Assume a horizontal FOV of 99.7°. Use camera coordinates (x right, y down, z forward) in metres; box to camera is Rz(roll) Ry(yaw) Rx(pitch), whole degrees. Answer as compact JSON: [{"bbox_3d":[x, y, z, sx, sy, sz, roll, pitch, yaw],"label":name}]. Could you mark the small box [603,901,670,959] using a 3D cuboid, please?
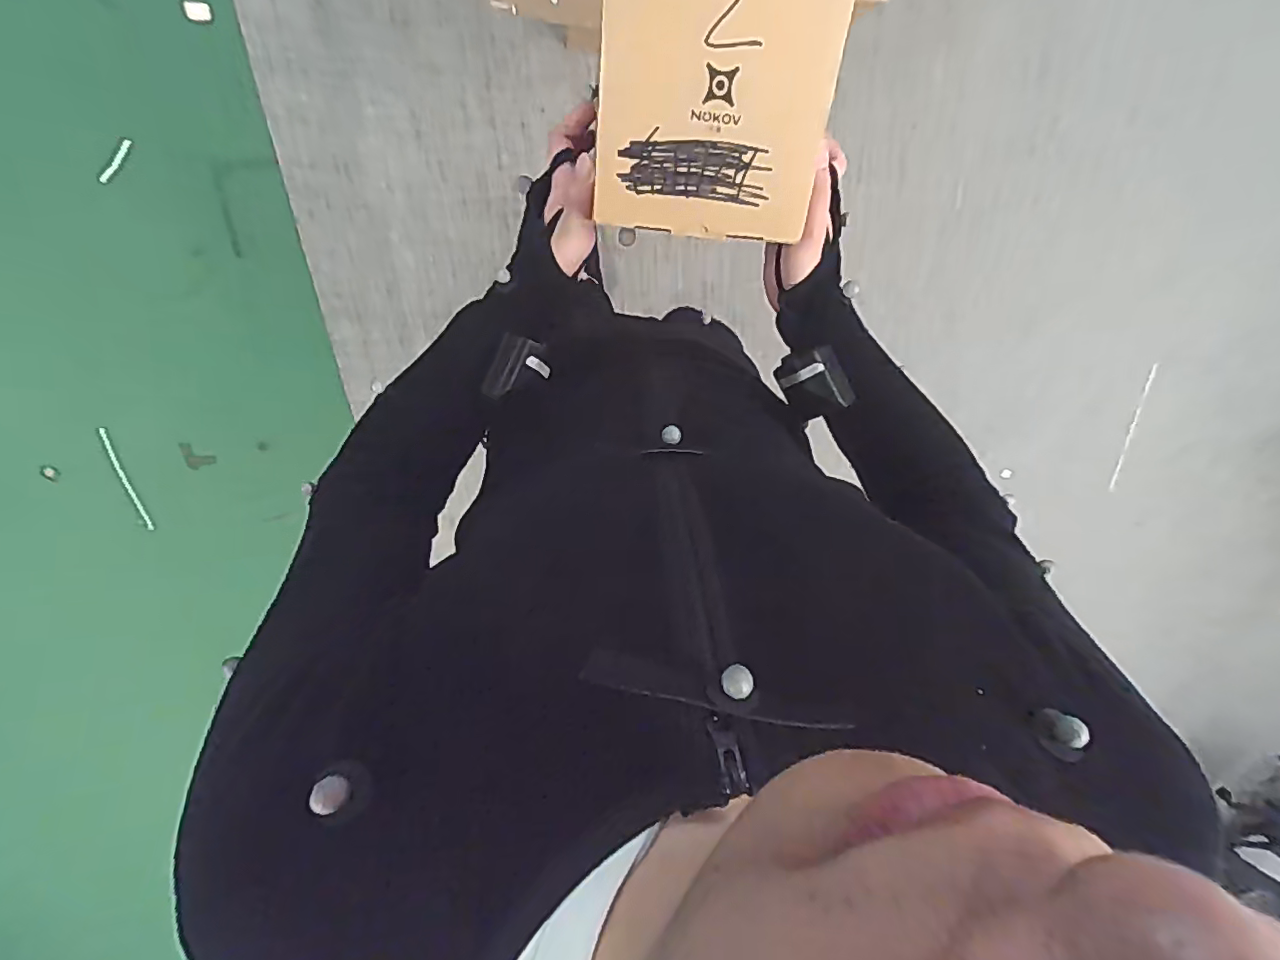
[{"bbox_3d":[-0.007,1.256,1.428,0.168,0.176,0.179,-5,117,-4],"label":"small box"}]
